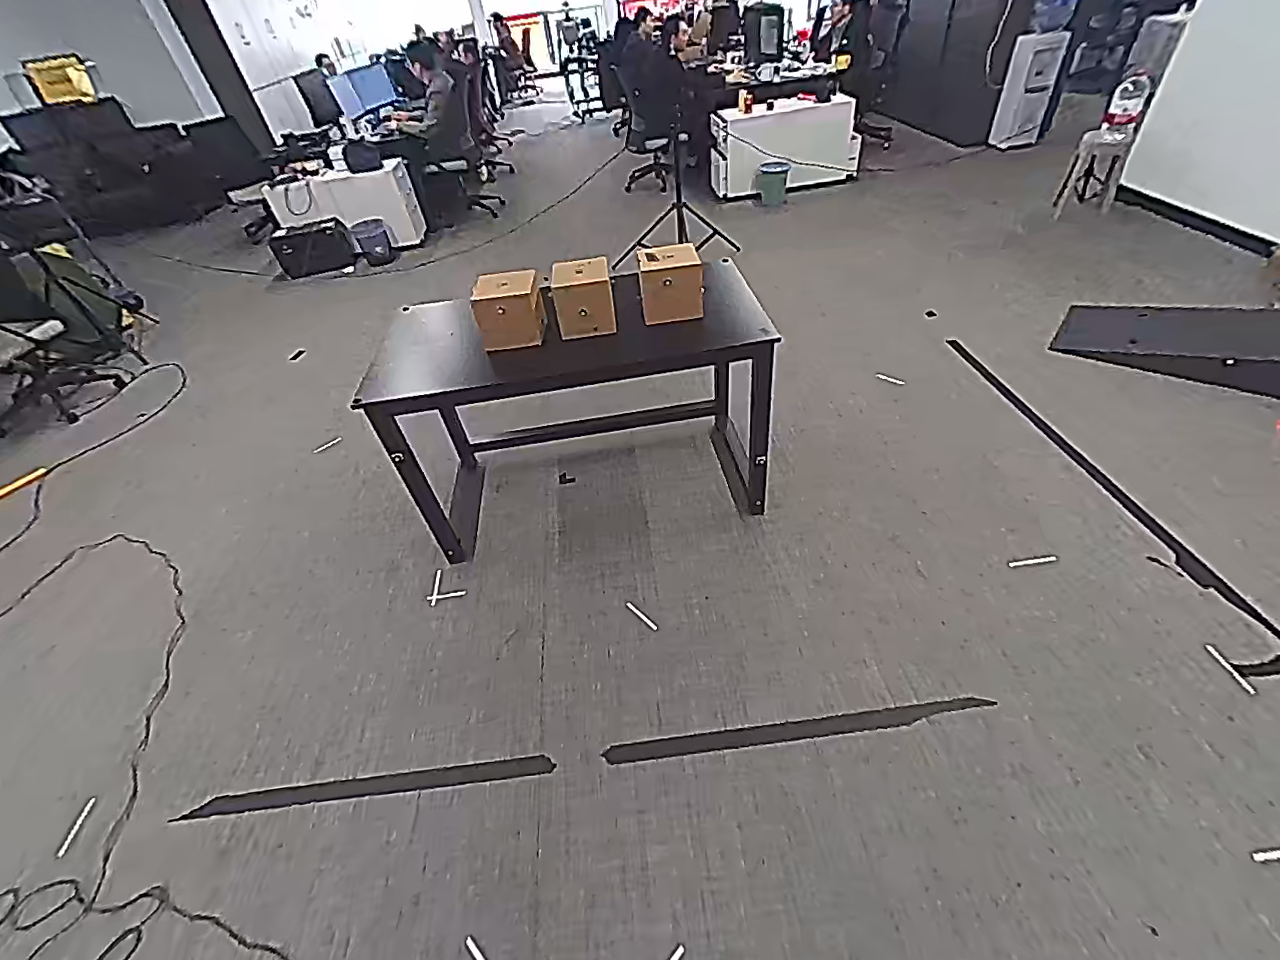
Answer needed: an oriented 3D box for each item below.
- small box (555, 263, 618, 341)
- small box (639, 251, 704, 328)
[{"bbox_3d":[-0.159,-0.536,1.649,0.168,0.176,0.179,-7,43,1],"label":"small box"},{"bbox_3d":[0.097,-0.581,1.656,0.179,0.176,0.168,-7,42,1],"label":"small box"}]
